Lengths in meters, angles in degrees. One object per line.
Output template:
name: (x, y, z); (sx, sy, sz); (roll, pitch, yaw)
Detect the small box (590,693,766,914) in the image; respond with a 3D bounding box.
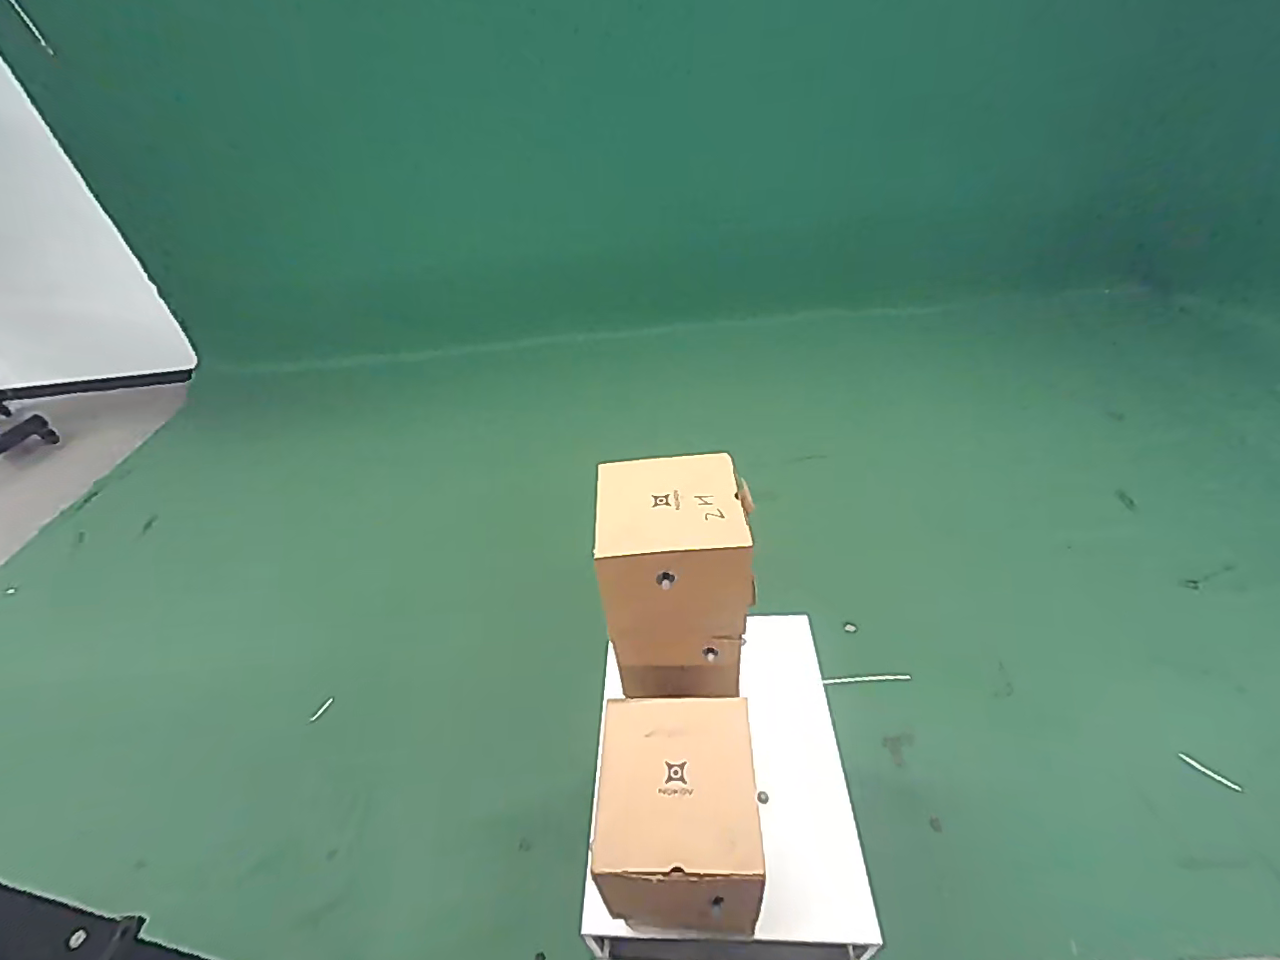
small box: (0.045, 0.363, 0.608); (0.168, 0.176, 0.179); (-2, 40, 4)

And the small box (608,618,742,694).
small box: (0.058, 0.200, 0.798); (0.179, 0.176, 0.168); (0, 41, 7)

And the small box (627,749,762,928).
small box: (0.066, 0.473, 0.724); (0.179, 0.176, 0.168); (0, 39, 7)

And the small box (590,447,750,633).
small box: (0.038, 0.079, 0.688); (0.179, 0.176, 0.168); (-4, 41, 2)
